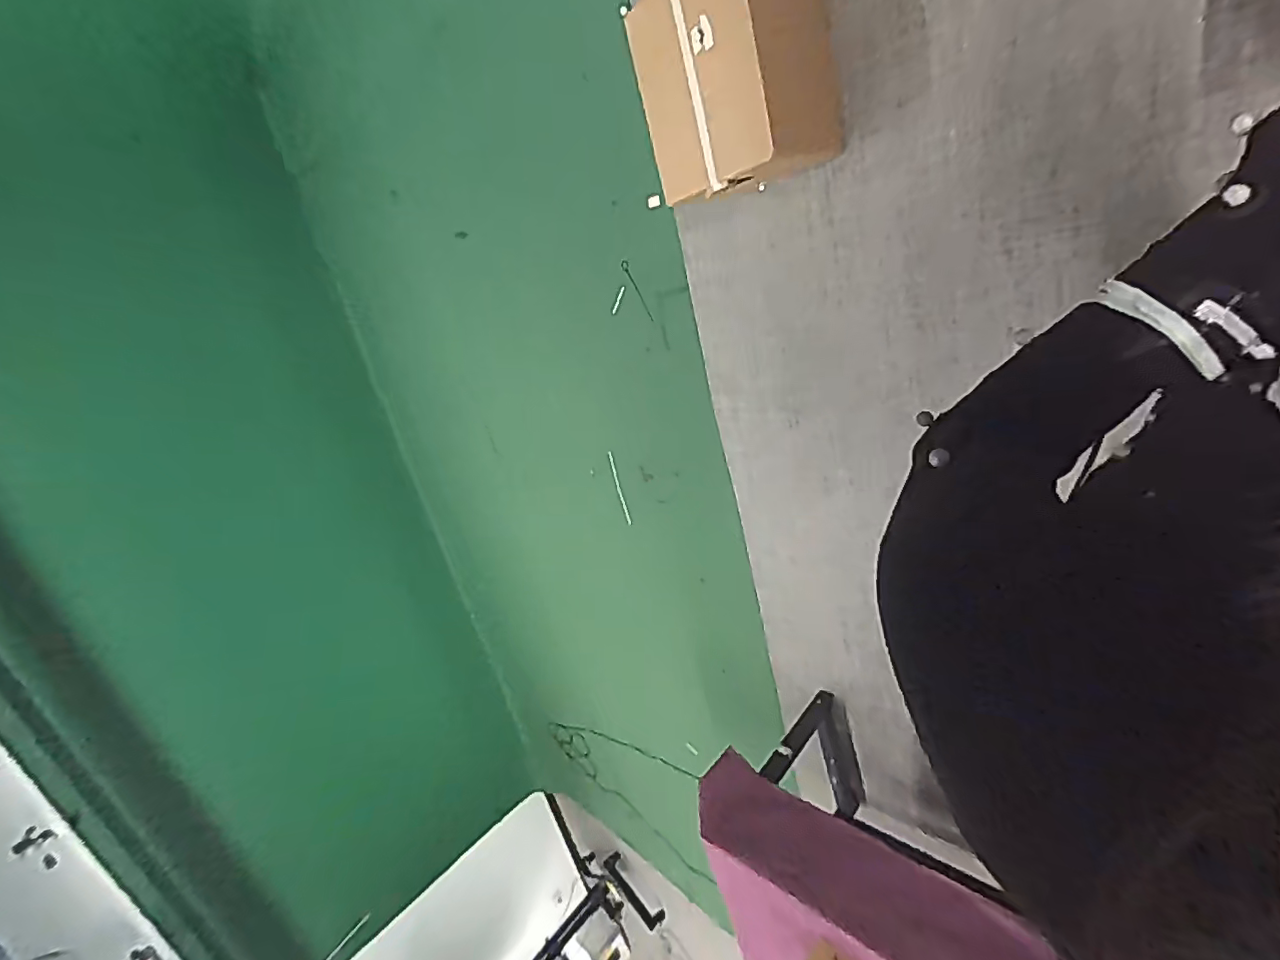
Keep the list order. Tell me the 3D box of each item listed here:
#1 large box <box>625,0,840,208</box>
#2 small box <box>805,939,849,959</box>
[{"bbox_3d":[0.223,-0.896,1.245,0.320,0.320,0.408,4,115,47],"label":"large box"},{"bbox_3d":[0.477,1.288,1.314,0.168,0.176,0.179,3,116,47],"label":"small box"}]
